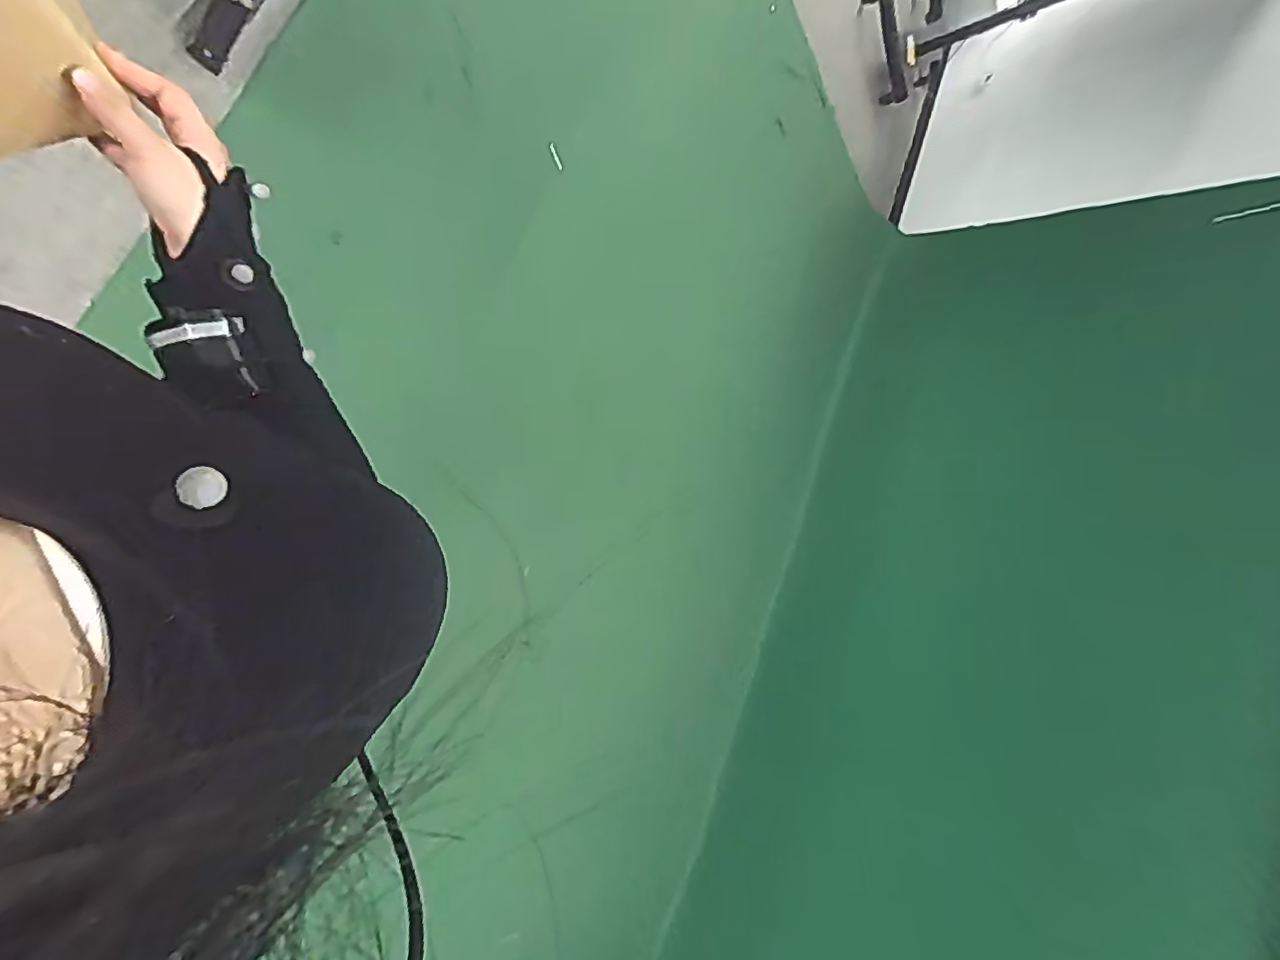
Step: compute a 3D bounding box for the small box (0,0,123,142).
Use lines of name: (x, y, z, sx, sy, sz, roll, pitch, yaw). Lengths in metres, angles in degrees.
small box: (-0.464, -0.309, 0.297, 0.179, 0.176, 0.168, -32, 161, -16)
